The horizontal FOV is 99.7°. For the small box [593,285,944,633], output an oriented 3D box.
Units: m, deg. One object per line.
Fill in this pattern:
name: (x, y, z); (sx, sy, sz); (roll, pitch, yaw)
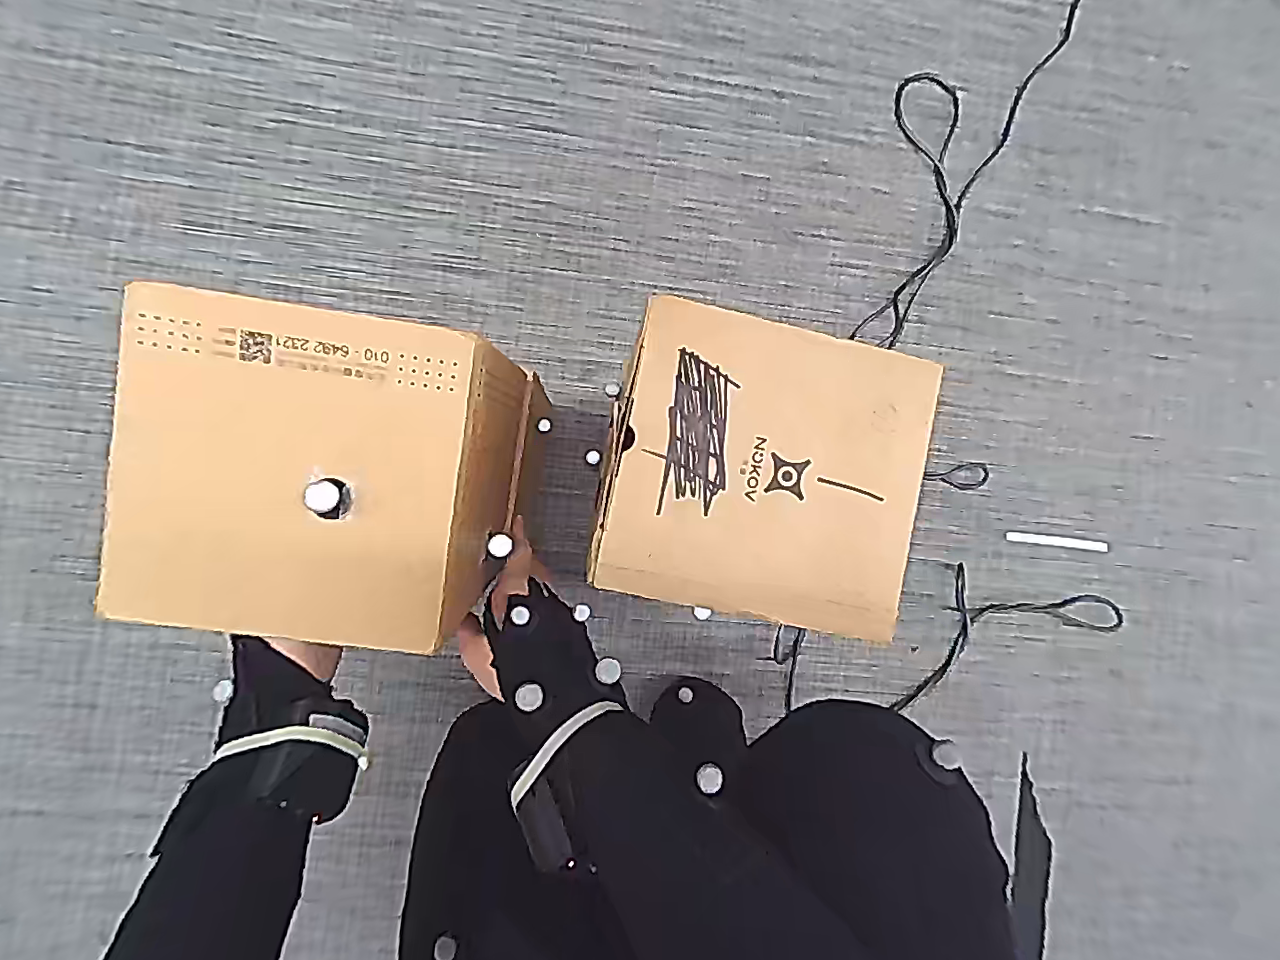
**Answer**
small box: (0.067, -0.008, 0.378); (0.179, 0.176, 0.168); (12, 87, -6)
